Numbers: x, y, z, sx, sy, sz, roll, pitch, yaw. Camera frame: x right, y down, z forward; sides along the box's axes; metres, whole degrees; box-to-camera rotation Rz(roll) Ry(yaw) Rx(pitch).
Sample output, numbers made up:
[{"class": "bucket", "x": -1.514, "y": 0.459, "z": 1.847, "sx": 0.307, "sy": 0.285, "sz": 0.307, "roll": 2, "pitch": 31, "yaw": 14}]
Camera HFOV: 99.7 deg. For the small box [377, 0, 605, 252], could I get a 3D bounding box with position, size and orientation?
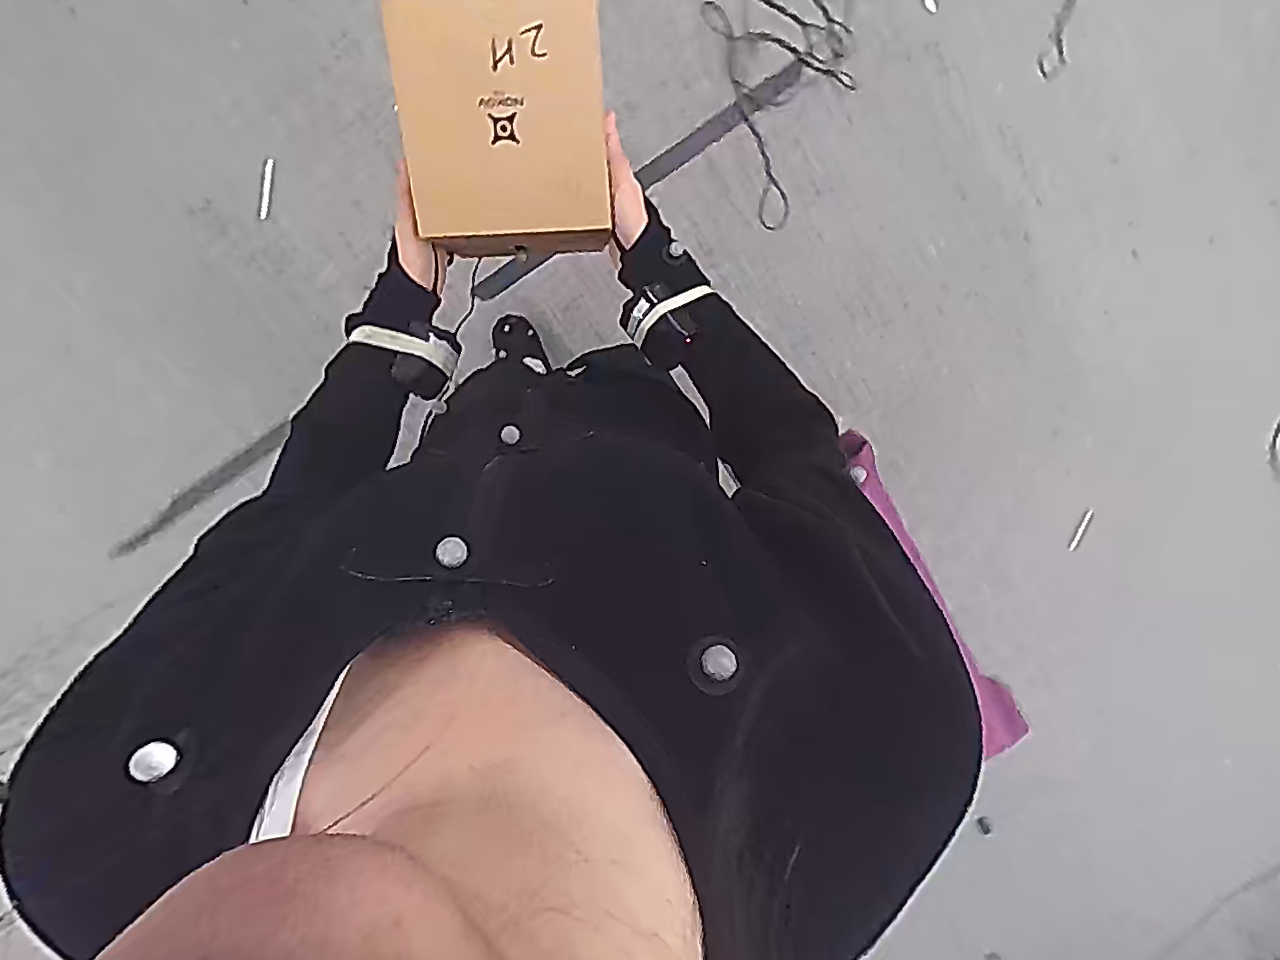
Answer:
[{"class": "small box", "x": -0.121, "y": -0.316, "z": 0.512, "sx": 0.168, "sy": 0.176, "sz": 0.179, "roll": -5, "pitch": 107, "yaw": -5}]
